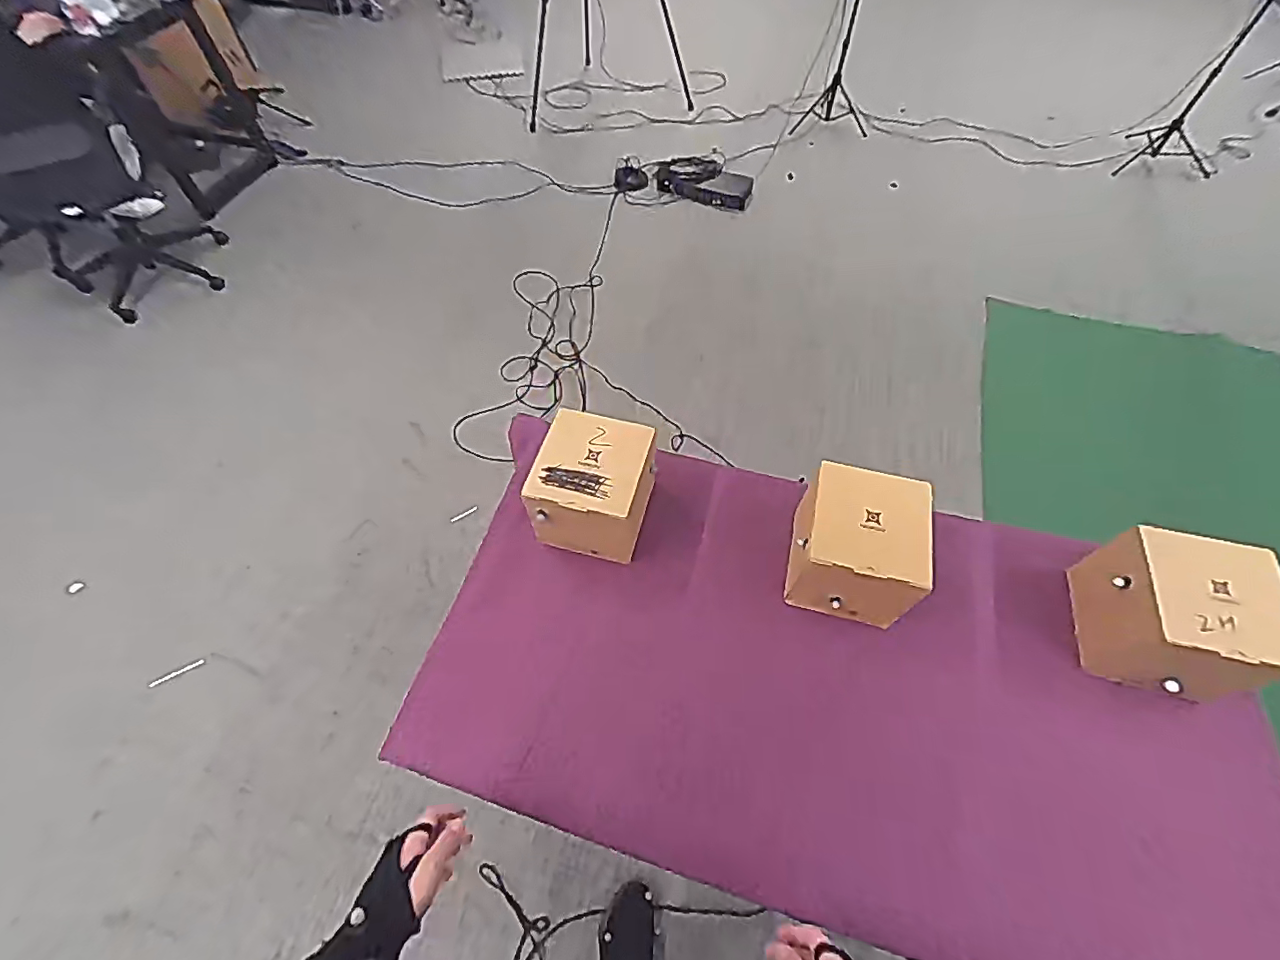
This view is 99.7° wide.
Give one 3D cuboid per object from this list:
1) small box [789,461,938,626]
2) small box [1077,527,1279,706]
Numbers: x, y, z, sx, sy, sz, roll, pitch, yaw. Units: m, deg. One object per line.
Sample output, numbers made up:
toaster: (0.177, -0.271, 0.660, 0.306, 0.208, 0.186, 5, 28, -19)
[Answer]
small box: (0.339, 0.102, 0.838, 0.168, 0.176, 0.179, 13, 59, 8)
small box: (0.765, 0.197, 0.769, 0.168, 0.176, 0.179, 12, 58, 11)
